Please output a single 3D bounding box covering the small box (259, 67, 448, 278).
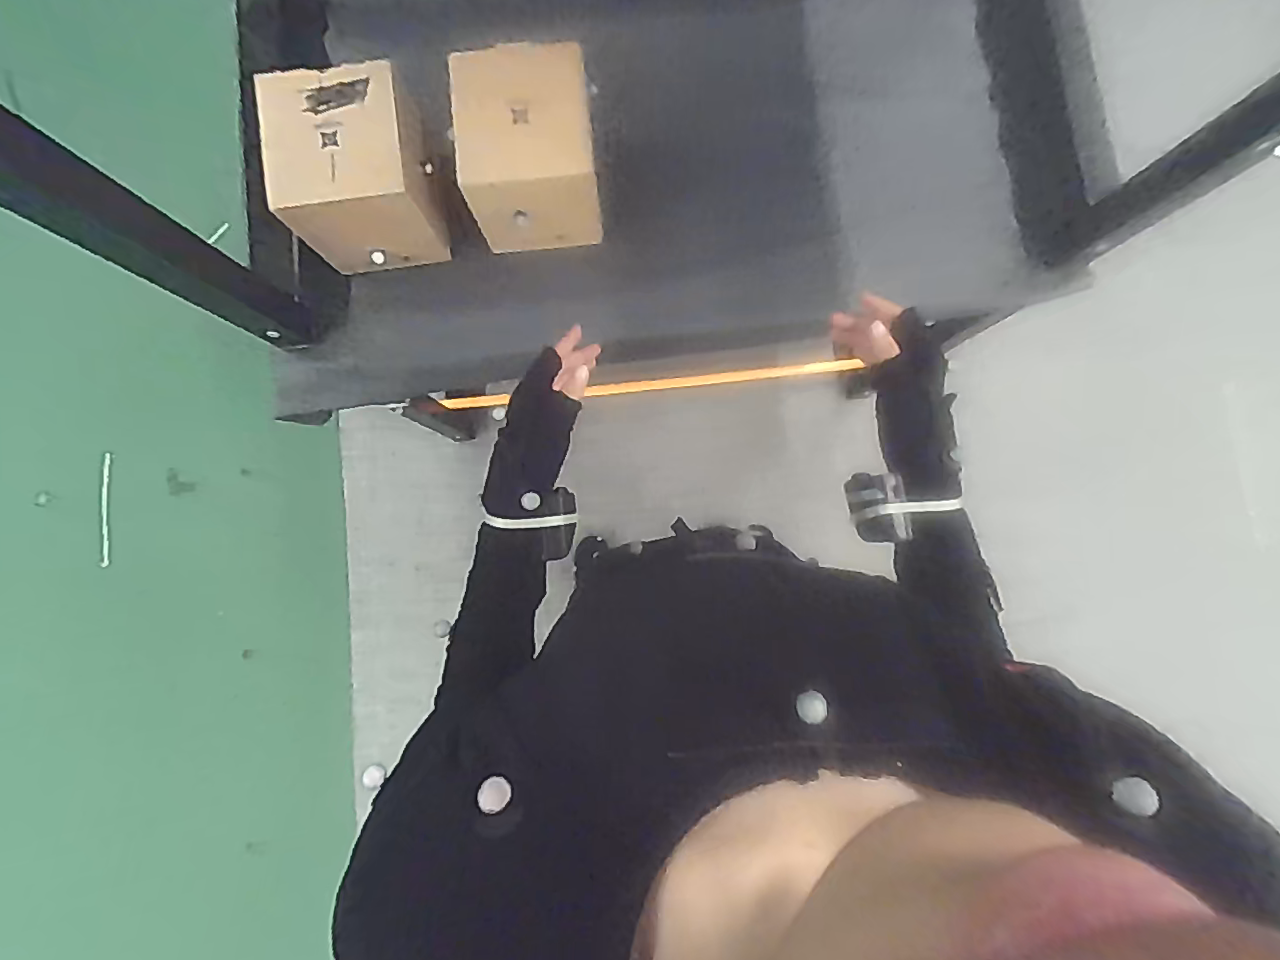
[{"bbox_3d":[-0.372,-0.400,0.727,0.168,0.176,0.179,-8,84,-1],"label":"small box"}]

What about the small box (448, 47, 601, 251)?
[{"bbox_3d":[-0.146,-0.431,0.734,0.168,0.176,0.179,-6,83,-1],"label":"small box"}]
